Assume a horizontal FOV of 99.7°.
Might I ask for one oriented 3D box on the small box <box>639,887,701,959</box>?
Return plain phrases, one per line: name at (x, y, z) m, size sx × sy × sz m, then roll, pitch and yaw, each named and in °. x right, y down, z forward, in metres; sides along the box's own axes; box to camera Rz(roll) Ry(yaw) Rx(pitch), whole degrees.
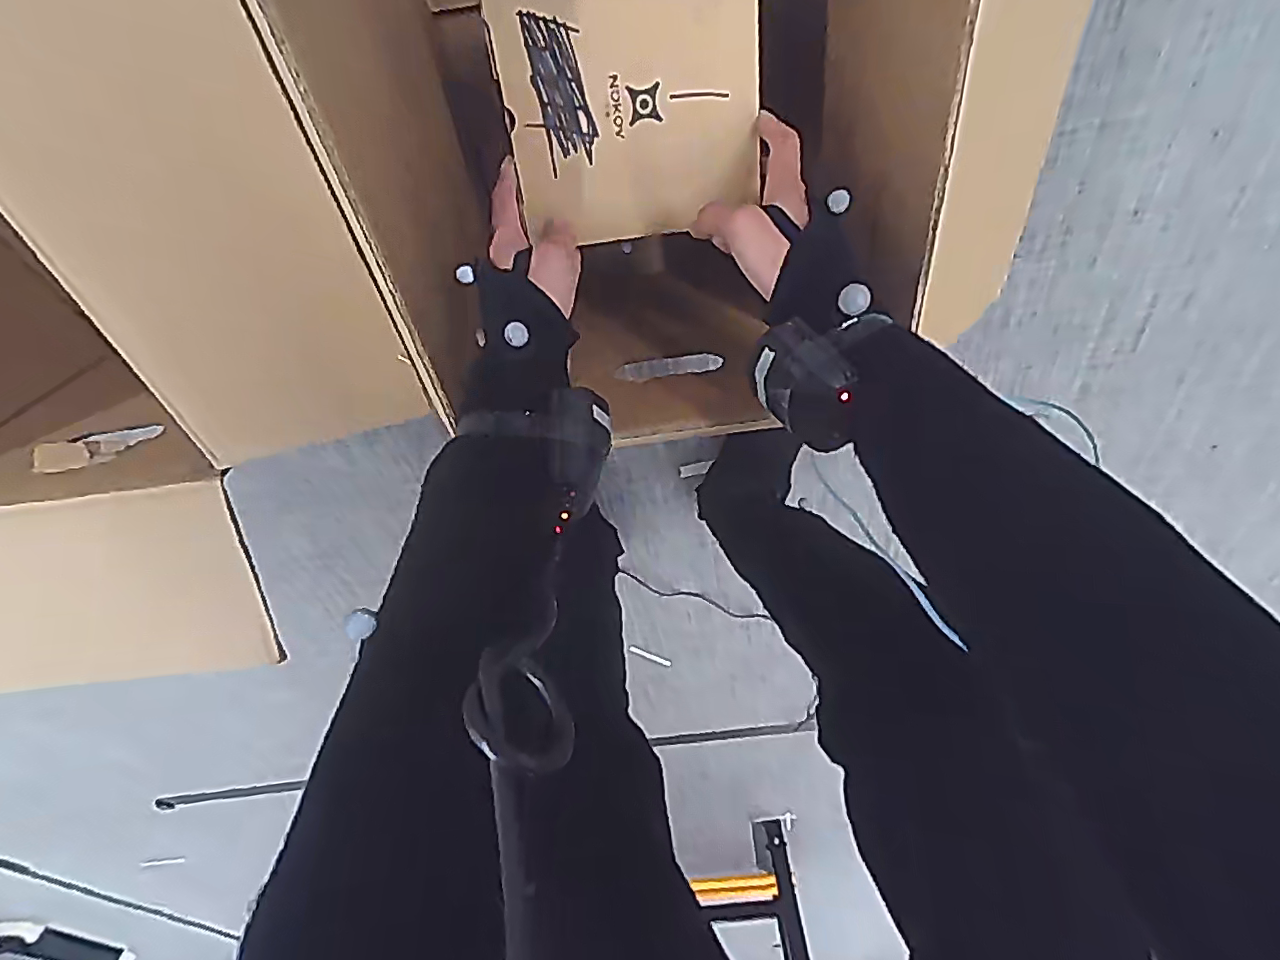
small box at (0.097, 1.451, 1.756) m, size 0.179 × 0.176 × 0.168 m, roll -10°, pitch 130°, yaw 6°
